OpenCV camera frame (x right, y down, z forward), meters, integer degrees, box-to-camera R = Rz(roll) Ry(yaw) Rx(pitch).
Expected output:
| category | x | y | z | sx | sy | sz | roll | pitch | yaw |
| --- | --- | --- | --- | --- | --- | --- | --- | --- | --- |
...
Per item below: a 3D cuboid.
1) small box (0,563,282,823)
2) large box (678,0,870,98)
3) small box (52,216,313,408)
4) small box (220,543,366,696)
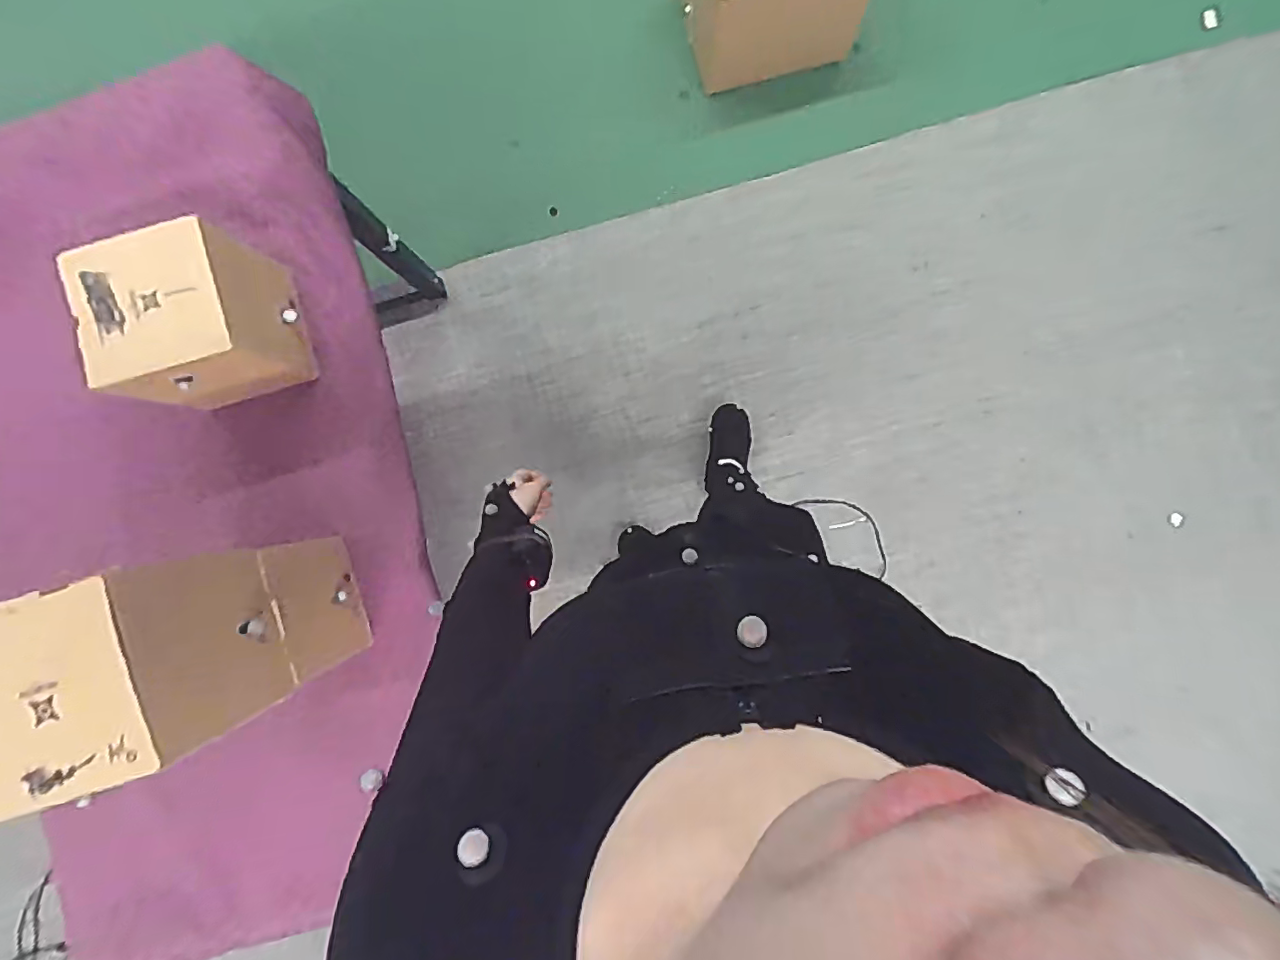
| category | x | y | z | sx | sy | sz | roll | pitch | yaw |
| --- | --- | --- | --- | --- | --- | --- | --- | --- | --- |
| small box | -0.496 | 0.186 | 0.524 | 0.168 | 0.176 | 0.179 | -18 | 88 | 3 |
| large box | 0.332 | -1.256 | 1.357 | 0.408 | 0.320 | 0.320 | -14 | 89 | 0 |
| small box | -0.570 | -0.200 | 0.697 | 0.179 | 0.176 | 0.168 | -16 | 89 | 1 |
| small box | -0.492 | 0.187 | 0.688 | 0.179 | 0.176 | 0.168 | -17 | 89 | 2 |
